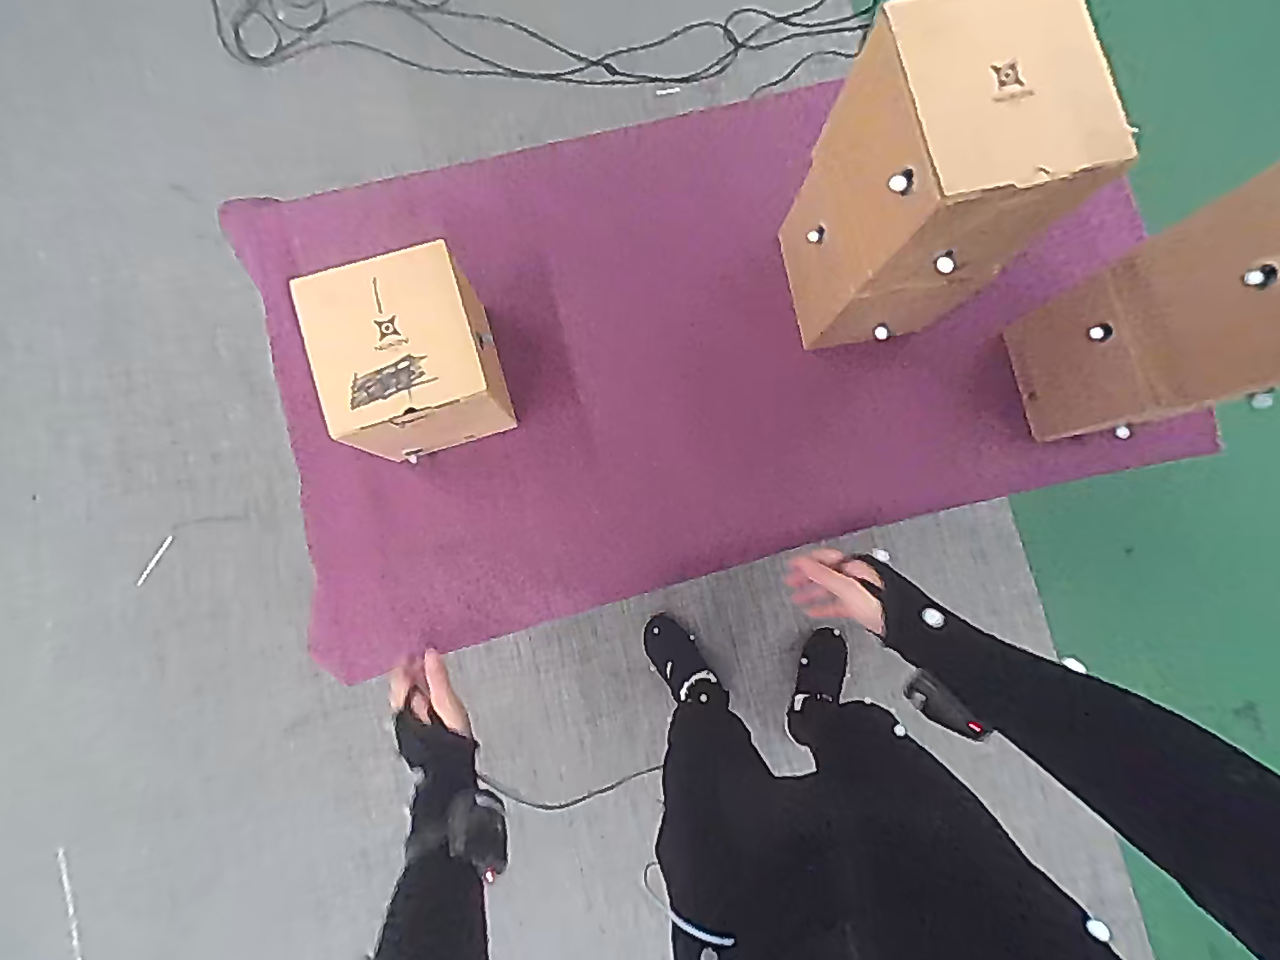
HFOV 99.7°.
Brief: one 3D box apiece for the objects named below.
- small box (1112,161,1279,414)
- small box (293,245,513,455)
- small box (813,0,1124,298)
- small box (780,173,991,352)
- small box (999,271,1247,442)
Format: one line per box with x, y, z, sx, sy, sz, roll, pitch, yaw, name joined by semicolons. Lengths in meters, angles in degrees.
0.604;-0.176;0.508;0.168;0.176;0.179;-10;83;-1;small box
-0.262;-0.136;0.637;0.168;0.176;0.179;-17;84;-5;small box
0.285;-0.303;0.514;0.168;0.176;0.179;-13;85;-4;small box
0.287;-0.281;0.675;0.168;0.176;0.179;-10;84;-3;small box
0.598;-0.152;0.669;0.179;0.176;0.168;-10;83;-3;small box
